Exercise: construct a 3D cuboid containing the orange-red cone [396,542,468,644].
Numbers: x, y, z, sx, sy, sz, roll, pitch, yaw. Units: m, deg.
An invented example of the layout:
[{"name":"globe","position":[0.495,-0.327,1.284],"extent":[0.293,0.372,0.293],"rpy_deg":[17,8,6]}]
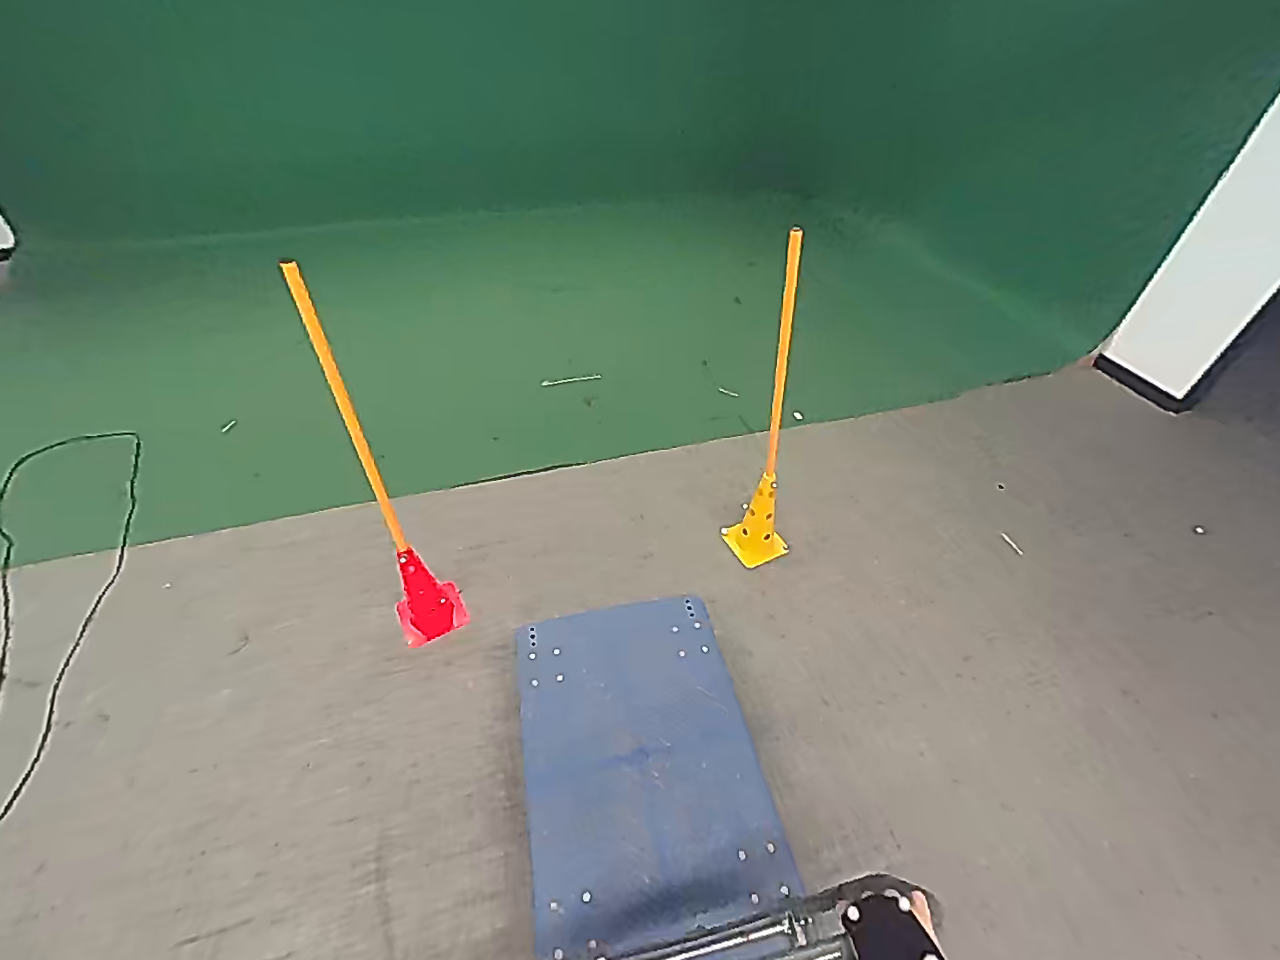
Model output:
[{"name":"orange-red cone","position":[-0.697,0.321,1.702],"extent":[0.199,0.360,0.198],"rpy_deg":[-23,49,-21]}]
